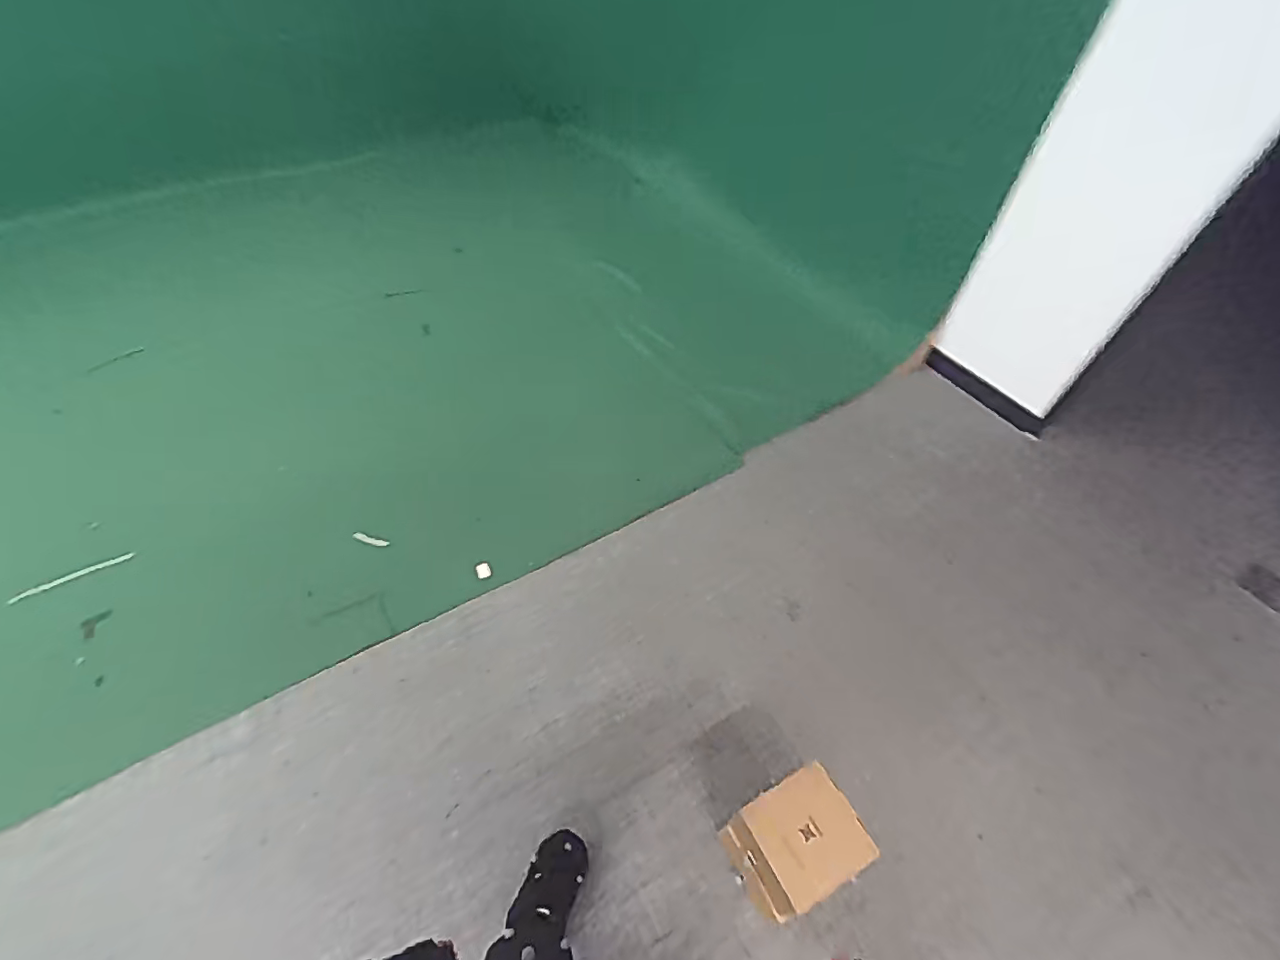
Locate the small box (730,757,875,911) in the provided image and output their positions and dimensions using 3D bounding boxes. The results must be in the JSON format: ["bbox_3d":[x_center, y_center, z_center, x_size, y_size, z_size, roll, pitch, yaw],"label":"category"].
[{"bbox_3d":[0.283,0.643,0.985,0.179,0.176,0.168,-24,54,-16],"label":"small box"}]

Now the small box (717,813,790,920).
[{"bbox_3d":[0.276,0.752,1.106,0.168,0.176,0.179,-23,56,-17],"label":"small box"}]
